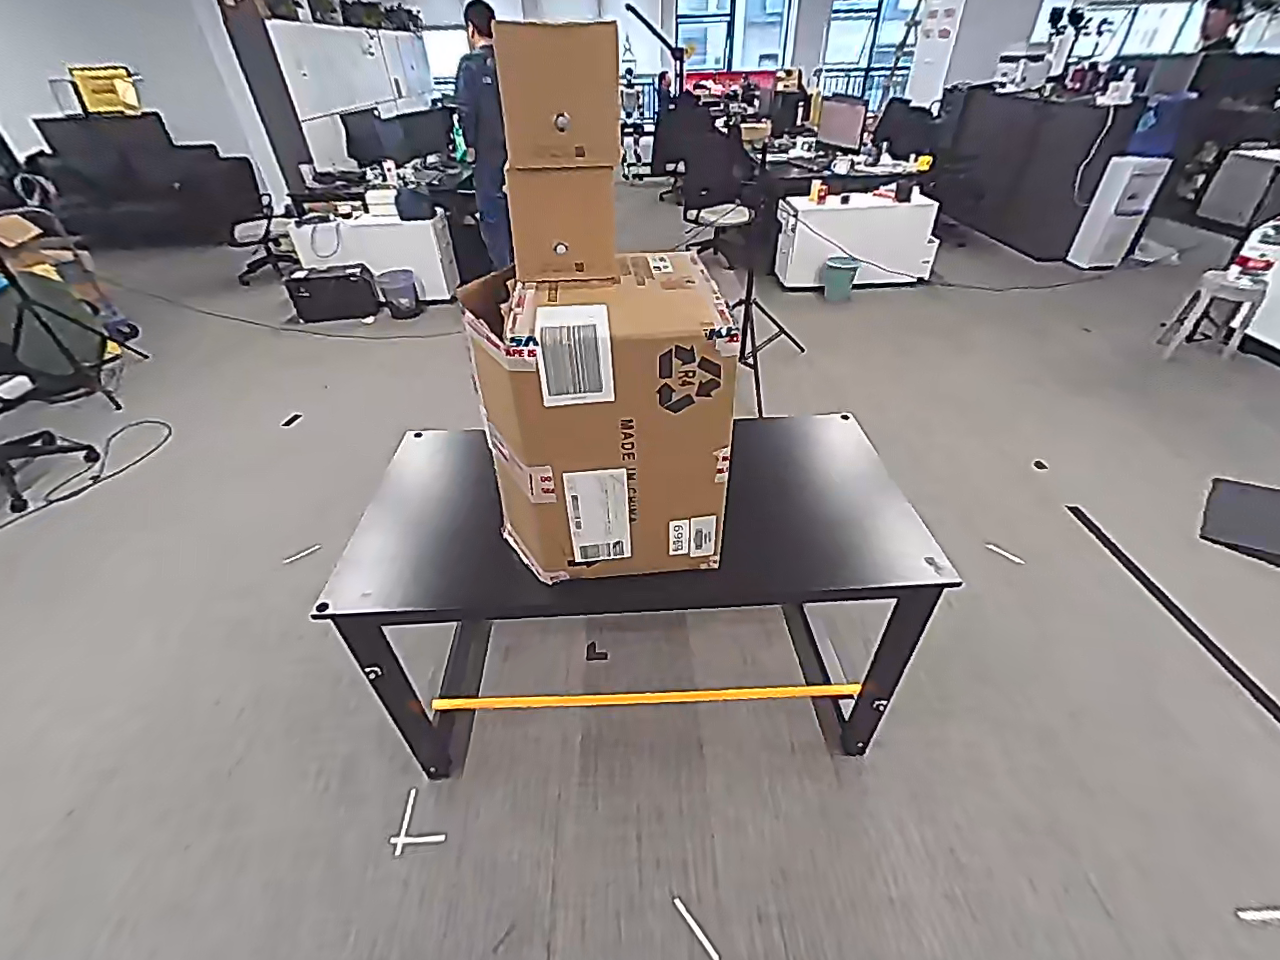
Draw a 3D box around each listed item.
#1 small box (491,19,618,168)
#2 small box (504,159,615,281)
[{"bbox_3d":[-0.125,-0.576,0.817,0.168,0.176,0.179,-6,36,-8],"label":"small box"},{"bbox_3d":[-0.132,-0.447,0.920,0.168,0.176,0.179,-5,37,-6],"label":"small box"}]
